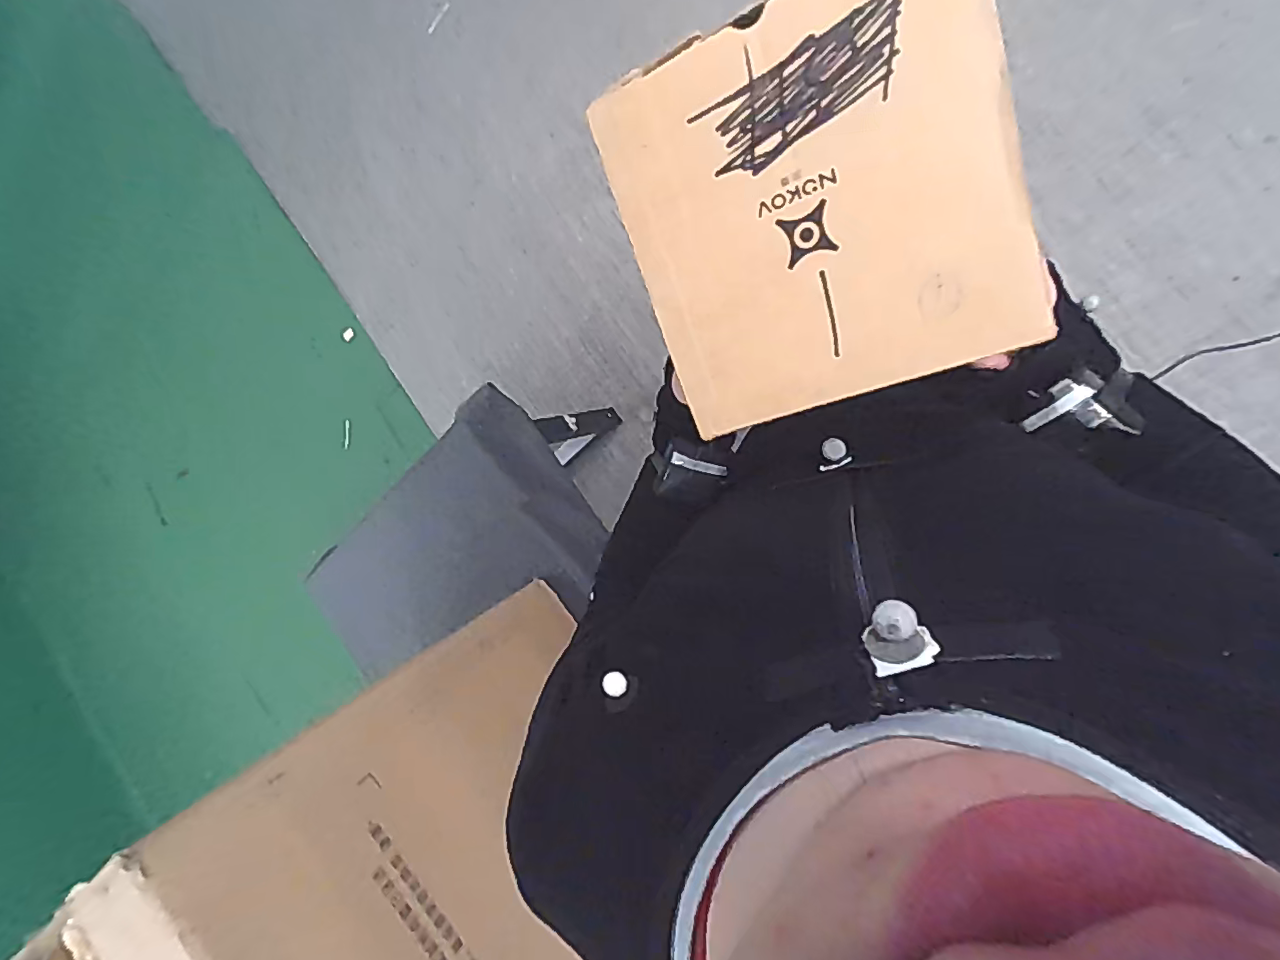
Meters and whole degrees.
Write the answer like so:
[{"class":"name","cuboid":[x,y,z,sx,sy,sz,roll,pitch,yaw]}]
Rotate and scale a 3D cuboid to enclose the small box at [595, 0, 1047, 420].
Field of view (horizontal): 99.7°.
[{"class":"small box","cuboid":[0.103,-0.155,0.317,0.168,0.176,0.179,-14,105,26]}]
